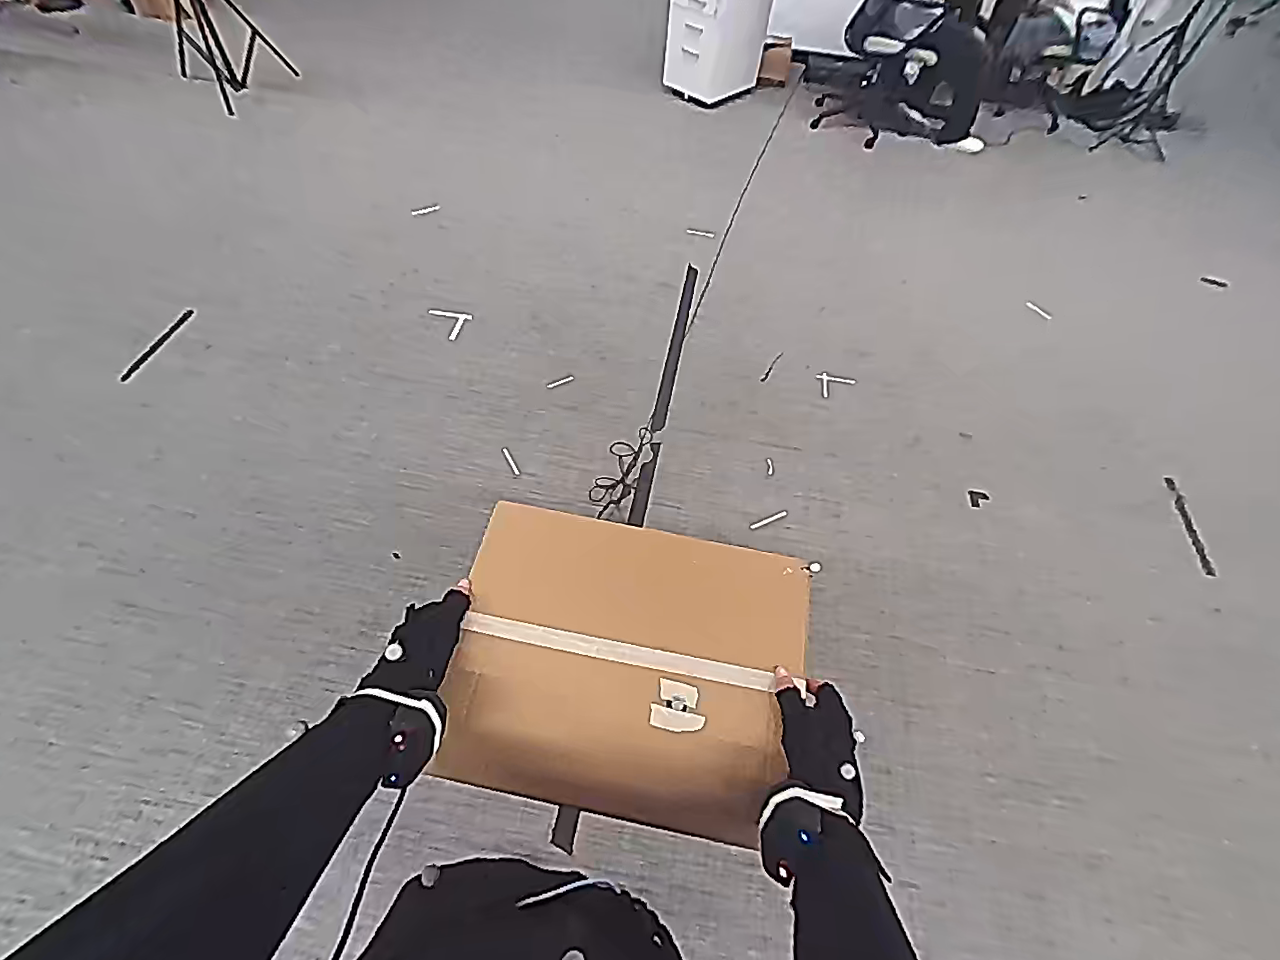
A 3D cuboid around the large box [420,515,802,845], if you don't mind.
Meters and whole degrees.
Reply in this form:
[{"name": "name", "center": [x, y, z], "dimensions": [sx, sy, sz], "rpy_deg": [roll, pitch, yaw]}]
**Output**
[{"name": "large box", "center": [-0.022, 0.282, 0.760], "dimensions": [0.408, 0.320, 0.320], "rpy_deg": [11, 61, 3]}]
